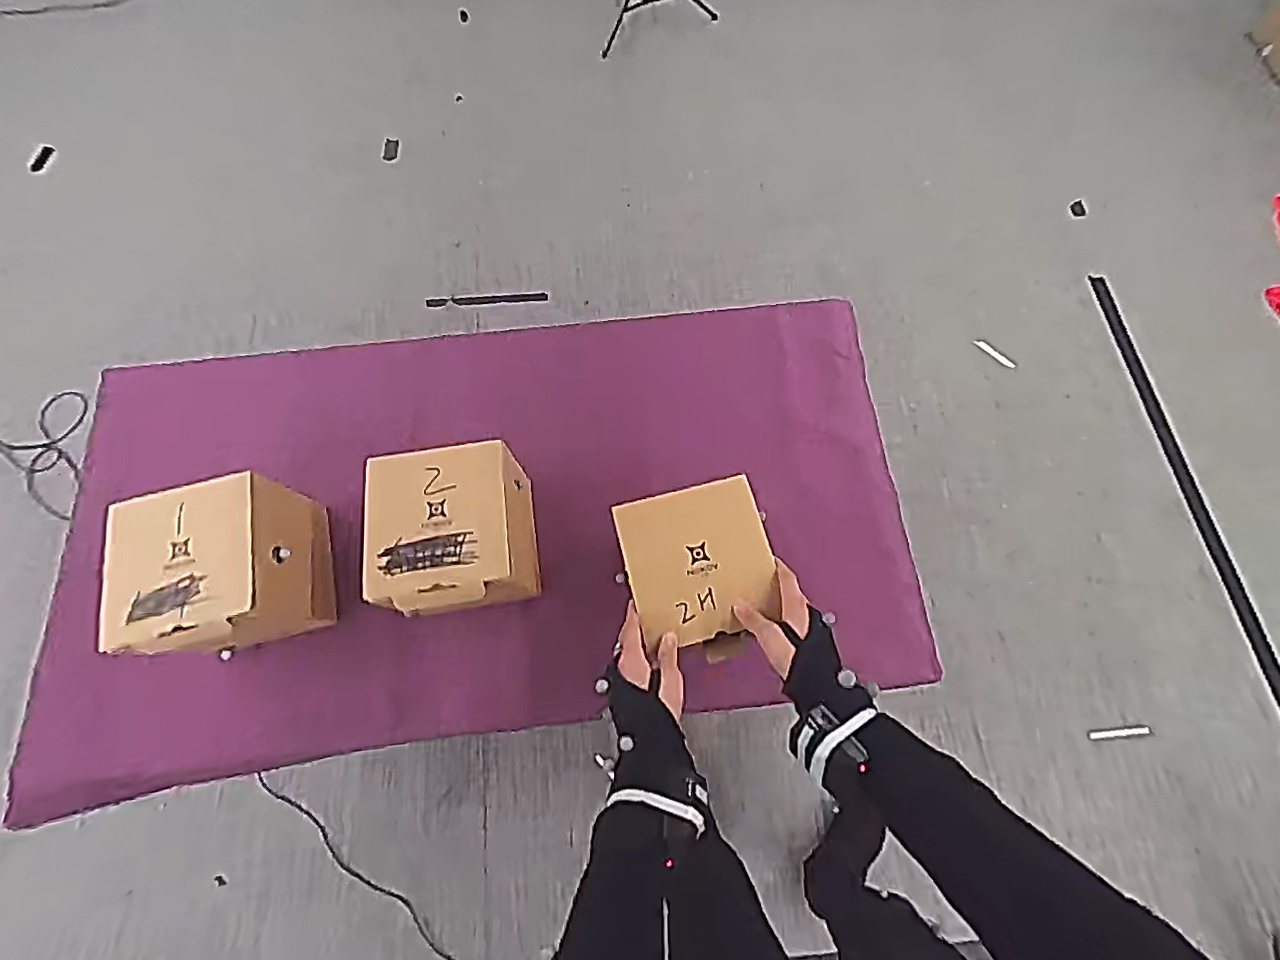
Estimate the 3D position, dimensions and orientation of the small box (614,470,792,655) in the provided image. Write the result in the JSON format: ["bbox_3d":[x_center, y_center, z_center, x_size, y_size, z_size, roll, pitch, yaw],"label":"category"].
[{"bbox_3d":[0.067,0.111,0.677,0.168,0.176,0.179,-14,71,-3],"label":"small box"}]

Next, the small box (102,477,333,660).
[{"bbox_3d":[-0.516,0.119,0.685,0.168,0.176,0.179,-15,71,-5],"label":"small box"}]
